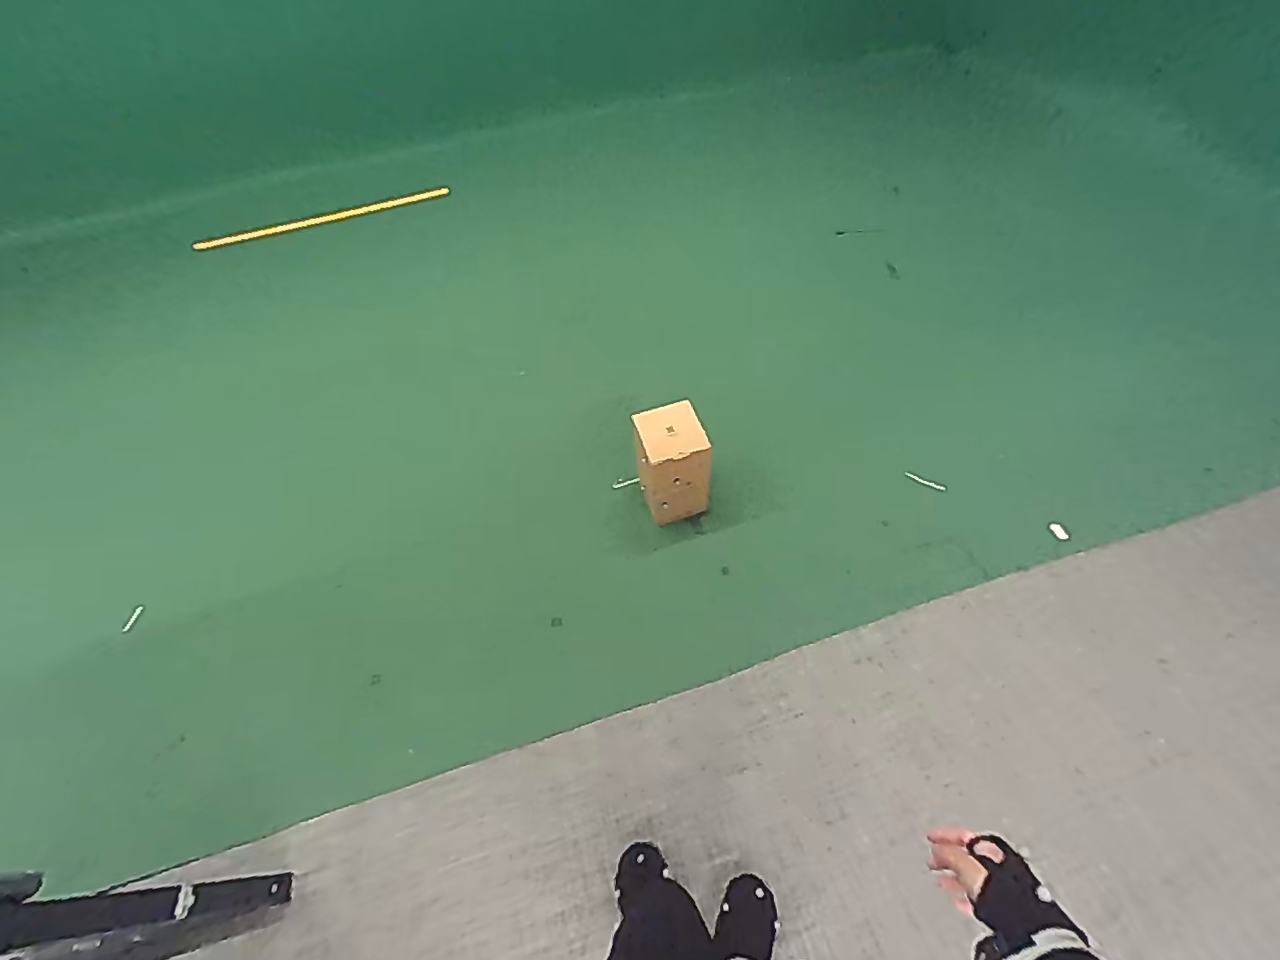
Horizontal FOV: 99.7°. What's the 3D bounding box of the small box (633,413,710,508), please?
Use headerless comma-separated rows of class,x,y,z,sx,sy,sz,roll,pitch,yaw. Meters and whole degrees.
small box,0.081,-0.052,1.494,0.168,0.176,0.179,-15,56,-8
